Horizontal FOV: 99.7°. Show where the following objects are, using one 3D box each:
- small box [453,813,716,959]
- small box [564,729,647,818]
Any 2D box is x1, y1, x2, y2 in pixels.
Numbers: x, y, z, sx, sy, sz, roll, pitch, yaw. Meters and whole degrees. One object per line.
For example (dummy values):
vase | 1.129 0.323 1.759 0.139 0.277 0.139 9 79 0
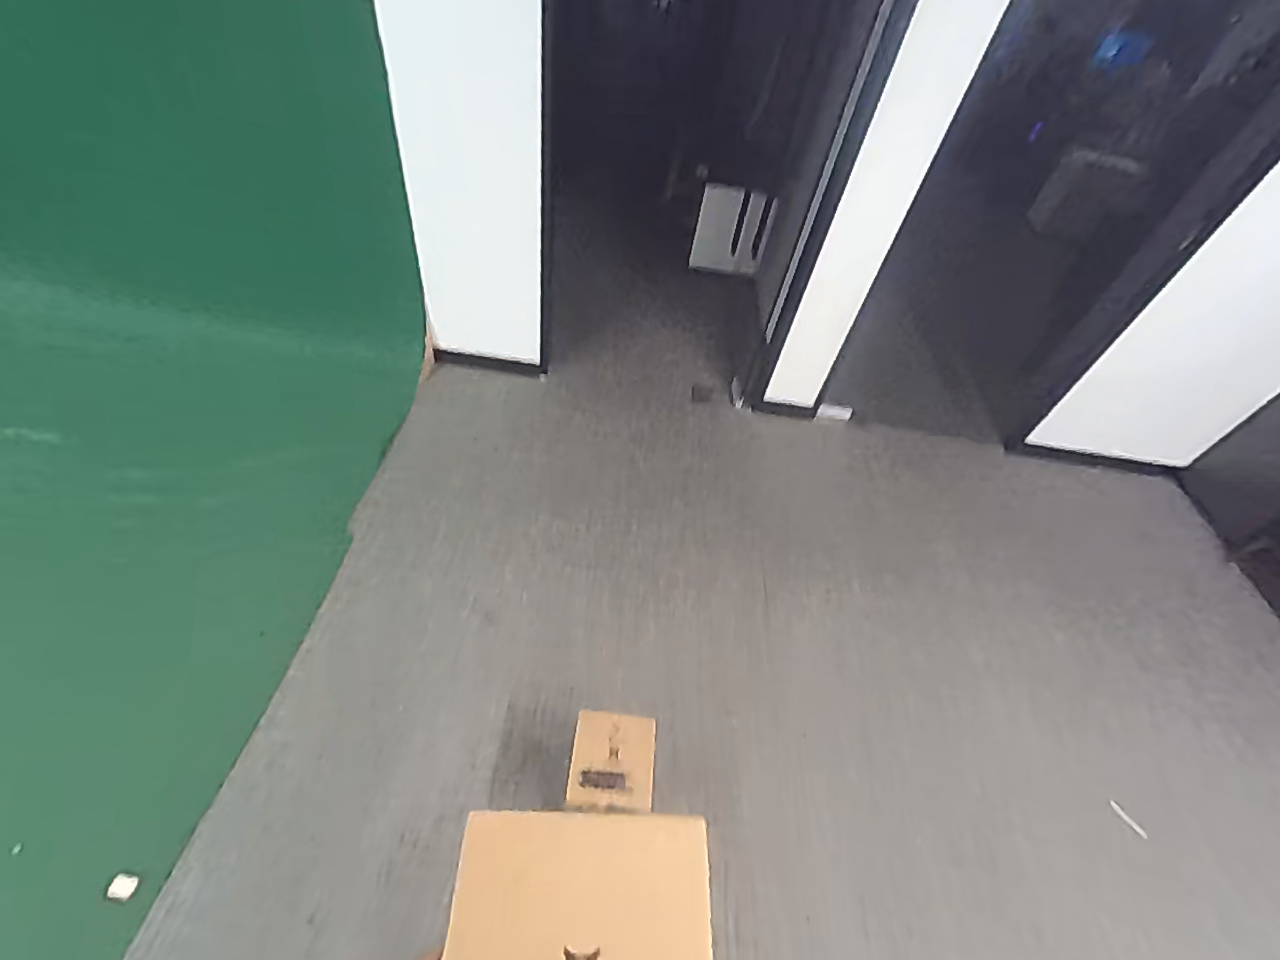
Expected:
small box | -0.045 0.352 0.387 0.168 0.176 0.179 5 53 -6
small box | -0.083 0.708 1.263 0.168 0.176 0.179 9 49 -2
